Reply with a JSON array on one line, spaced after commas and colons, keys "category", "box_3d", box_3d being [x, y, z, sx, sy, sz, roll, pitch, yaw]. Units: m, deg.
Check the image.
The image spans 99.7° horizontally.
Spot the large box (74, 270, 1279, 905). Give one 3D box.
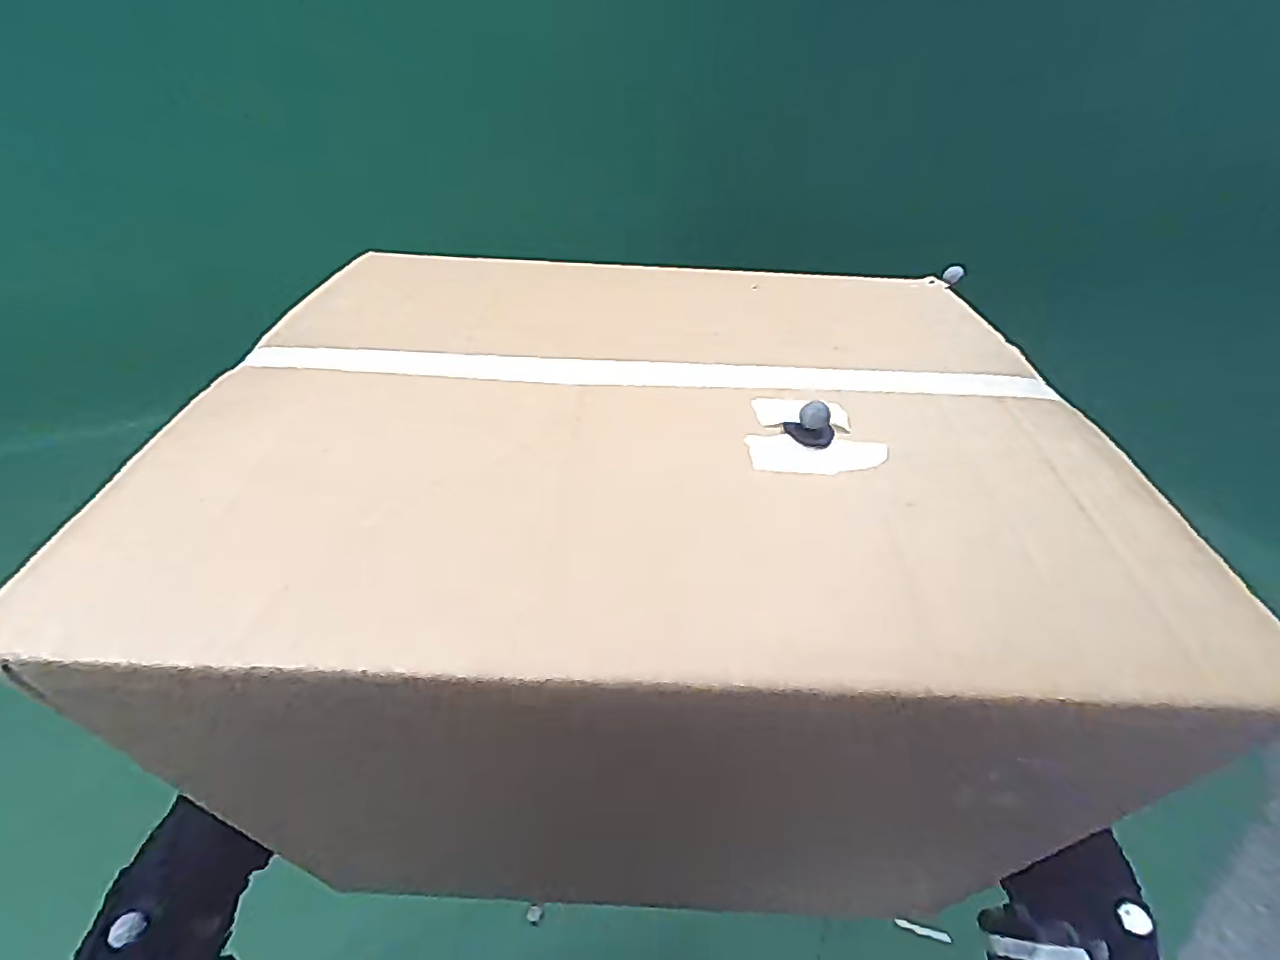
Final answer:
[{"category": "large box", "box_3d": [0.012, 0.069, 0.382, 0.408, 0.320, 0.320, 4, 42, 0]}]
